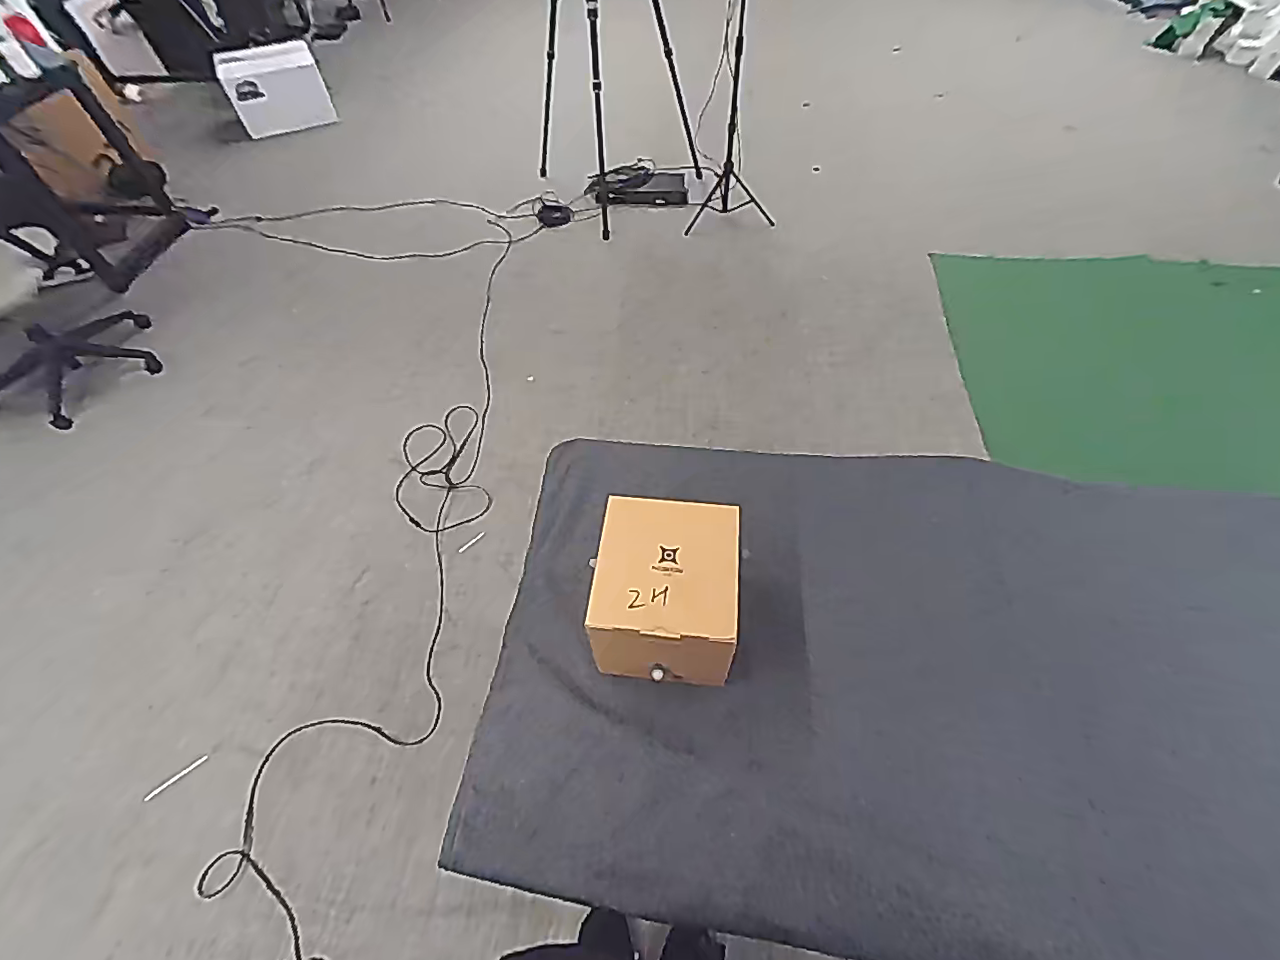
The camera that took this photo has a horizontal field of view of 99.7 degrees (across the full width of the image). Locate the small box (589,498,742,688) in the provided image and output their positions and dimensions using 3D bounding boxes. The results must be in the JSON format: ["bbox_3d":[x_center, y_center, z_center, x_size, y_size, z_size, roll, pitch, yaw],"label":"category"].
[{"bbox_3d":[0.036,0.146,0.693,0.168,0.176,0.179,5,53,6],"label":"small box"}]
